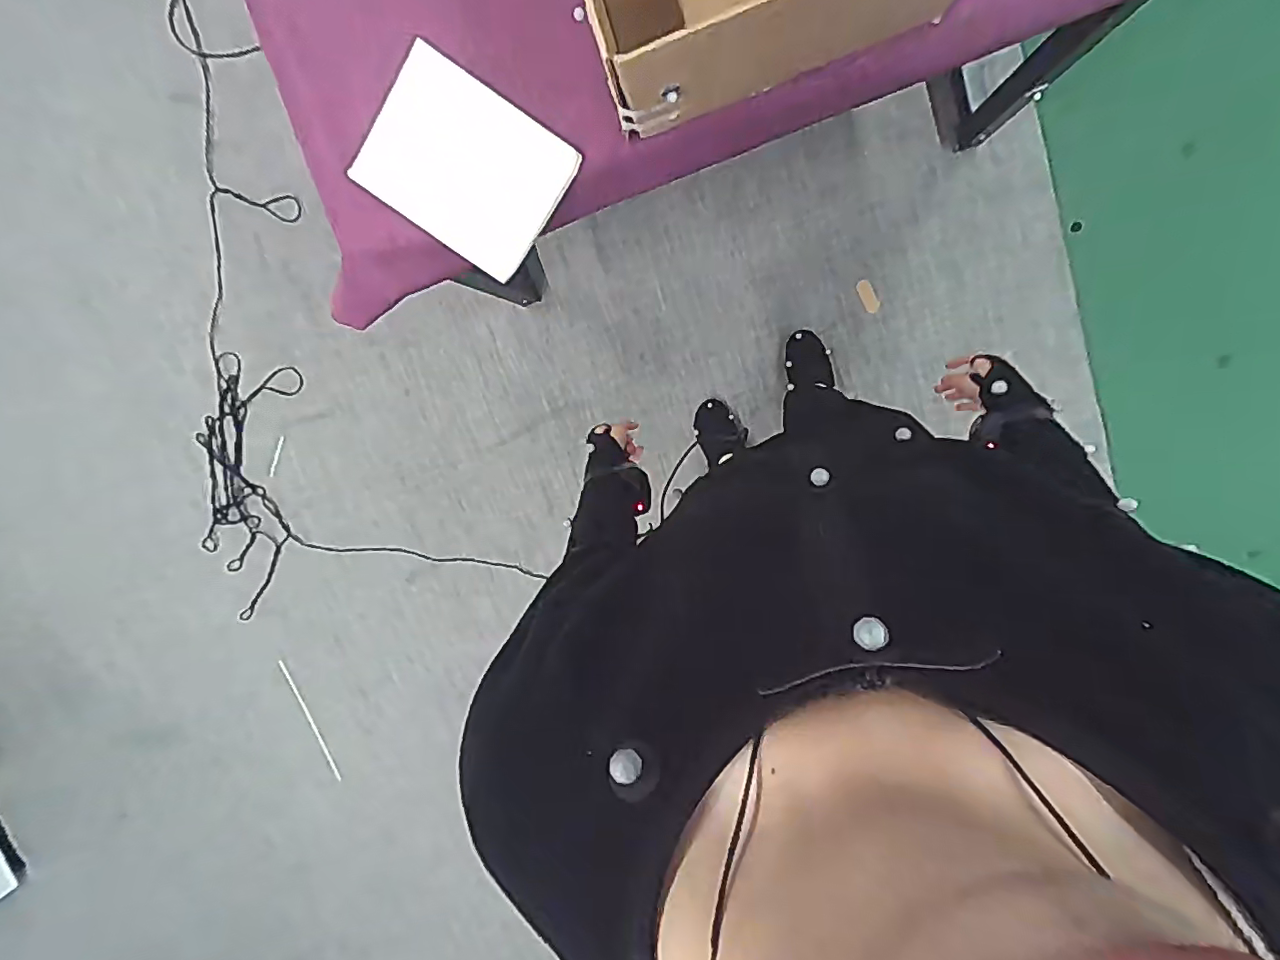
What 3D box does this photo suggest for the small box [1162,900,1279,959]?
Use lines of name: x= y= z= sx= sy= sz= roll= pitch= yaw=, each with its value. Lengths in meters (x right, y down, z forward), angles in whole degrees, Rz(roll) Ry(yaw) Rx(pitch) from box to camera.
small box: x=1.284 y=1.044 z=1.152 sx=0.168 sy=0.176 sz=0.179 roll=-26 pitch=96 yaw=12
